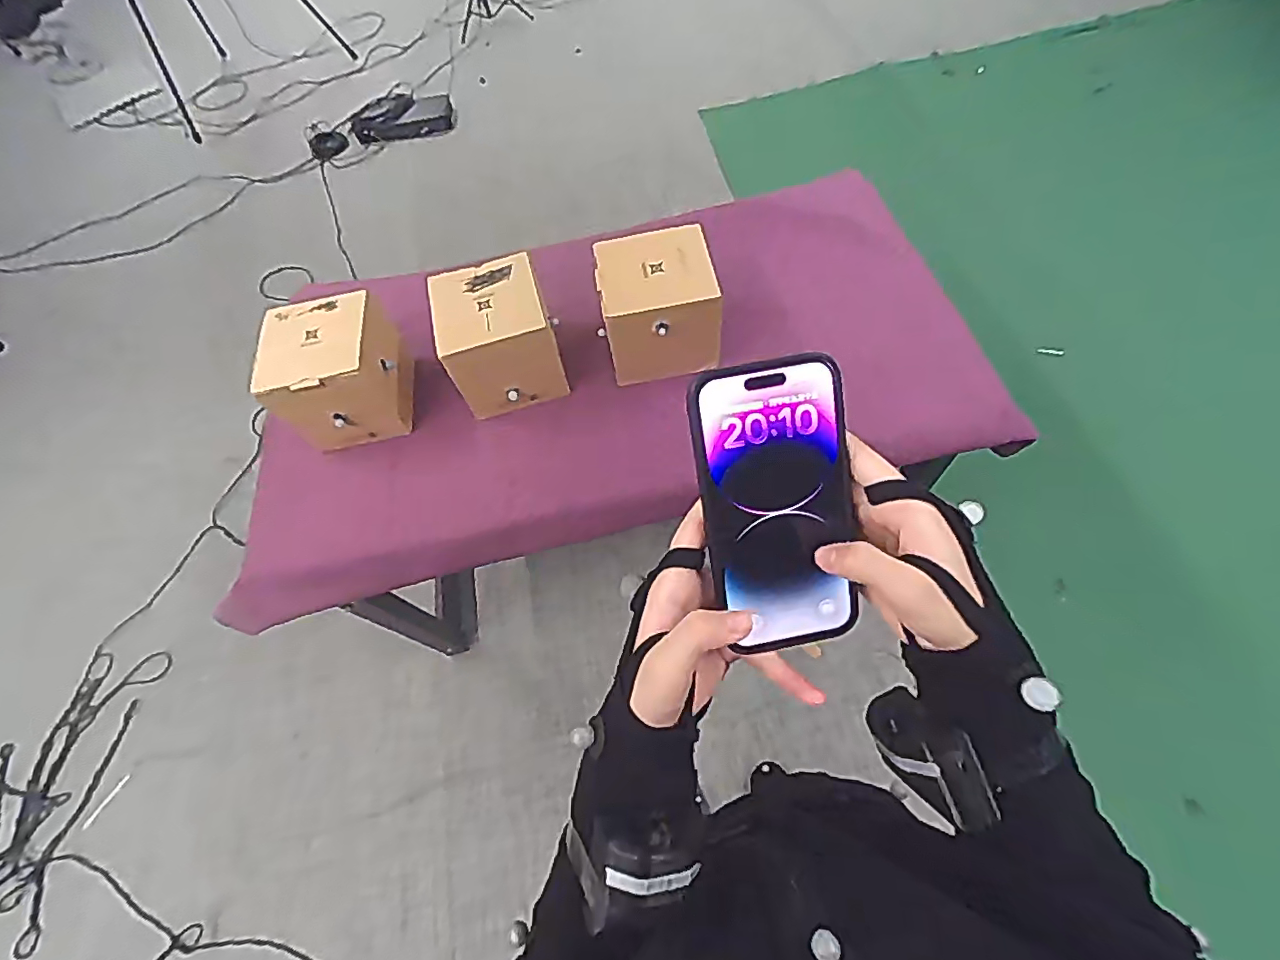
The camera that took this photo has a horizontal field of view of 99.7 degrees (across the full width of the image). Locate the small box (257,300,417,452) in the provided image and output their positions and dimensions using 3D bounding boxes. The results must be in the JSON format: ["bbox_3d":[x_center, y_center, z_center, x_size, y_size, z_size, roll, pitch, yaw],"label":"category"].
[{"bbox_3d":[-0.487,-0.162,0.899,0.168,0.176,0.179,-12,61,1],"label":"small box"}]

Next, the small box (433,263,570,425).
[{"bbox_3d":[-0.225,-0.221,0.899,0.168,0.176,0.179,-16,61,-2],"label":"small box"}]

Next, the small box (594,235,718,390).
[{"bbox_3d":[0.030,-0.269,0.895,0.179,0.176,0.168,-10,61,2],"label":"small box"}]
